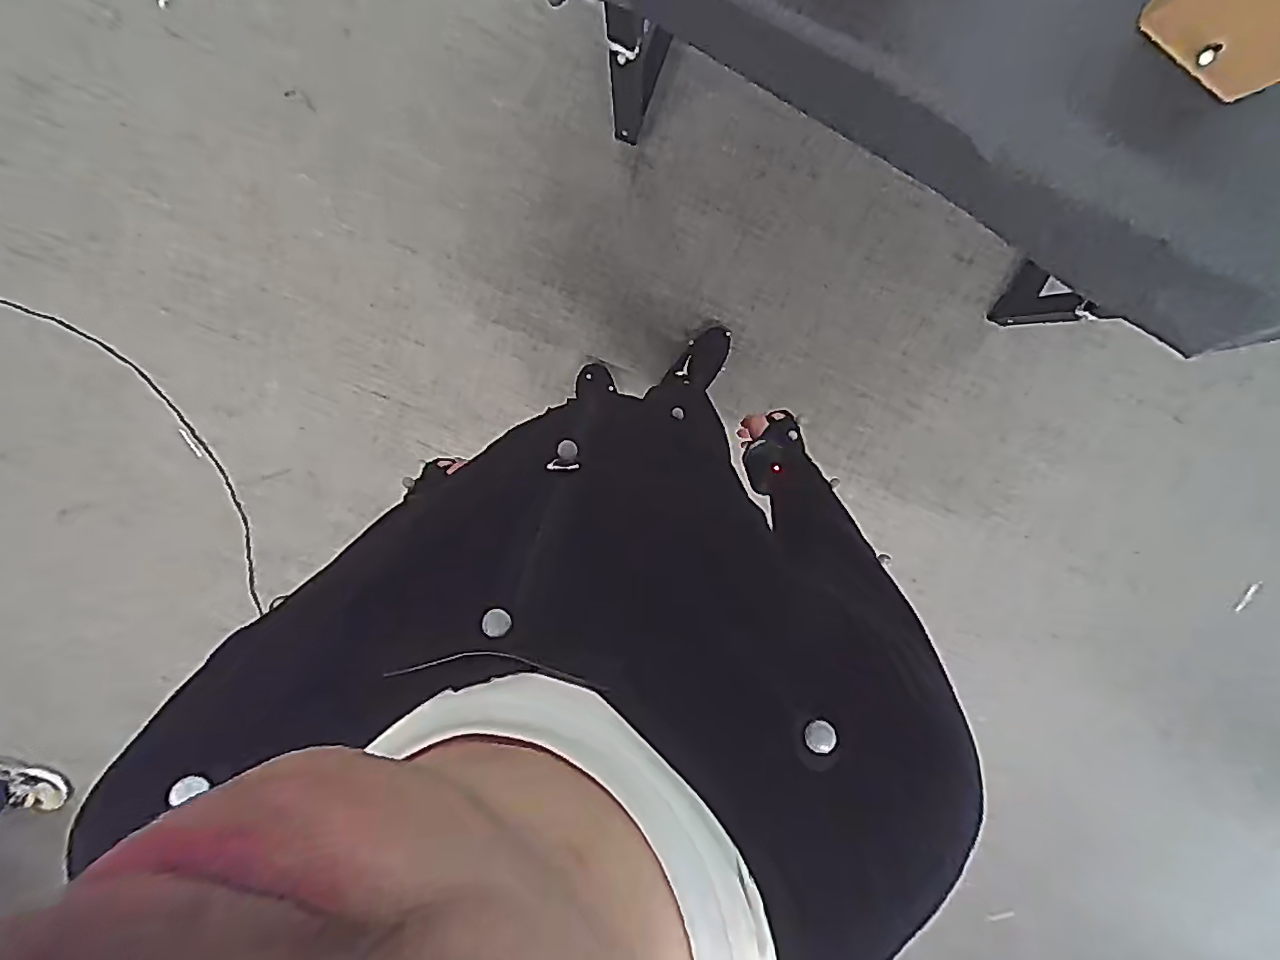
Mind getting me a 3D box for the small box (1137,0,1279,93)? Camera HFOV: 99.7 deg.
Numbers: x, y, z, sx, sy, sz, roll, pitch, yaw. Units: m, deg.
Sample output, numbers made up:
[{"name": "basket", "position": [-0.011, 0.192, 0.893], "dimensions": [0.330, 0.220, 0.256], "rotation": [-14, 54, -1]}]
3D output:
[{"name": "small box", "position": [0.766, -0.600, 0.633], "dimensions": [0.179, 0.176, 0.168], "rotation": [31, 101, -9]}]
